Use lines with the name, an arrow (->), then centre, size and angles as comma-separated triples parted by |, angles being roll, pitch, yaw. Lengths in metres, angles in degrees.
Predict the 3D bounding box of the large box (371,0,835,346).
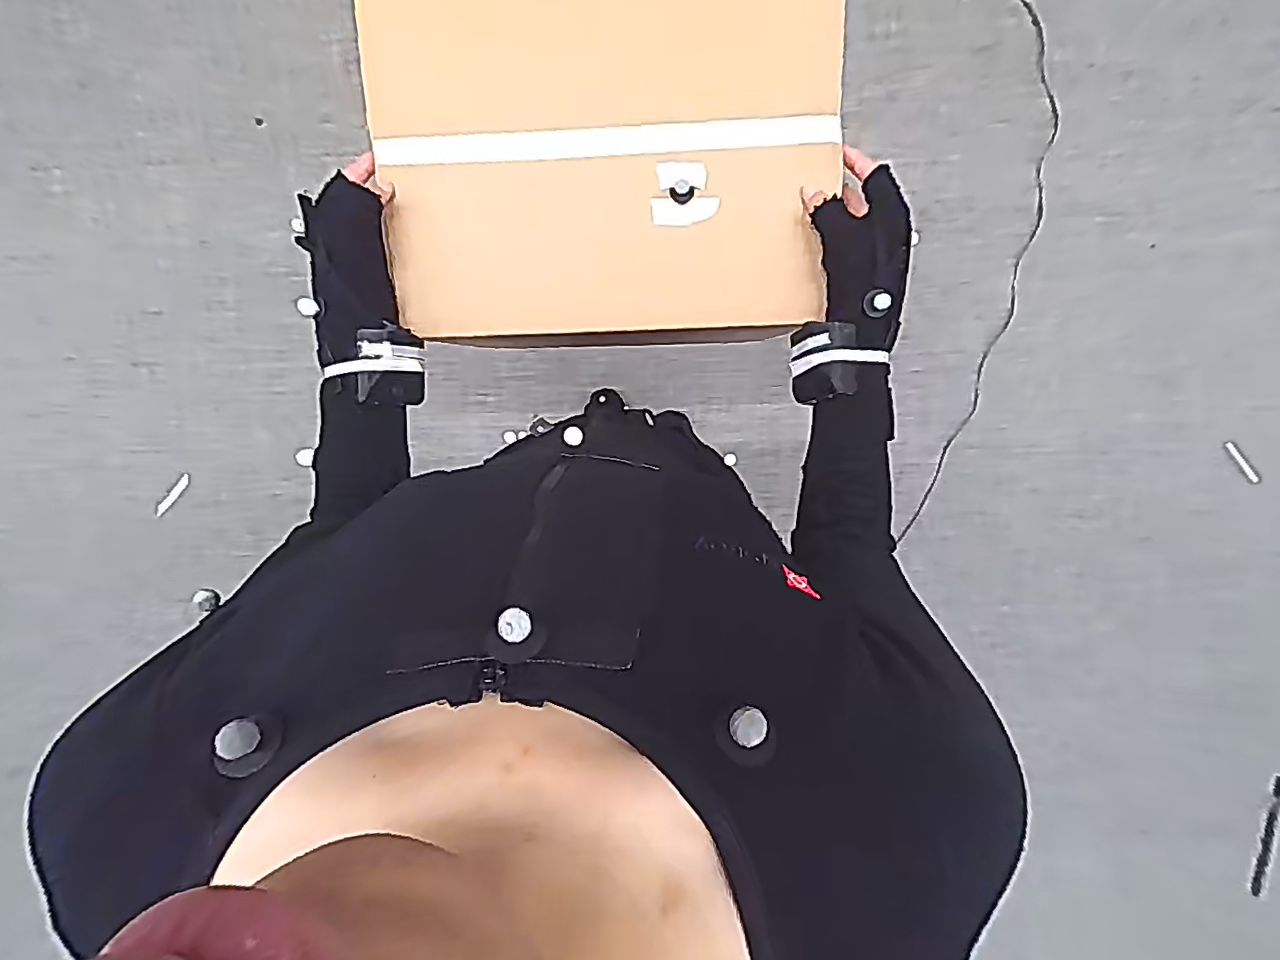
large box -> -0.028, -0.330, 0.626 | 0.408, 0.320, 0.320 | -1, 102, 1
